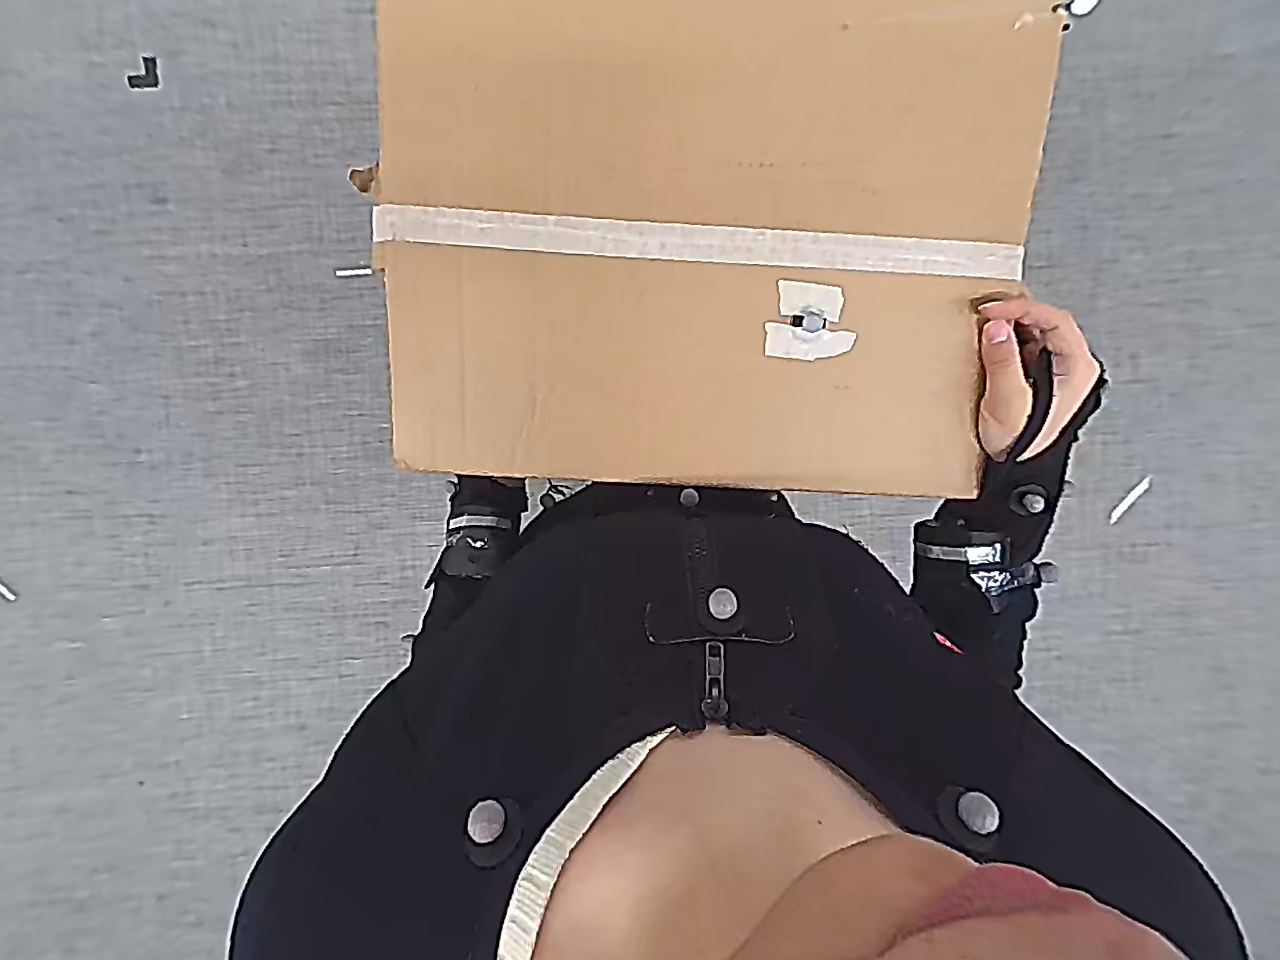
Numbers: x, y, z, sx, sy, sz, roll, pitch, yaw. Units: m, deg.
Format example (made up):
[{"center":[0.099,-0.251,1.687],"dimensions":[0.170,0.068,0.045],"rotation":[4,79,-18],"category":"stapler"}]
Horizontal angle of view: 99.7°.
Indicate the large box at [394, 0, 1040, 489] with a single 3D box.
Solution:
[{"center":[0.039,-0.175,0.499],"dimensions":[0.408,0.320,0.320],"rotation":[2,102,-4],"category":"large box"}]
